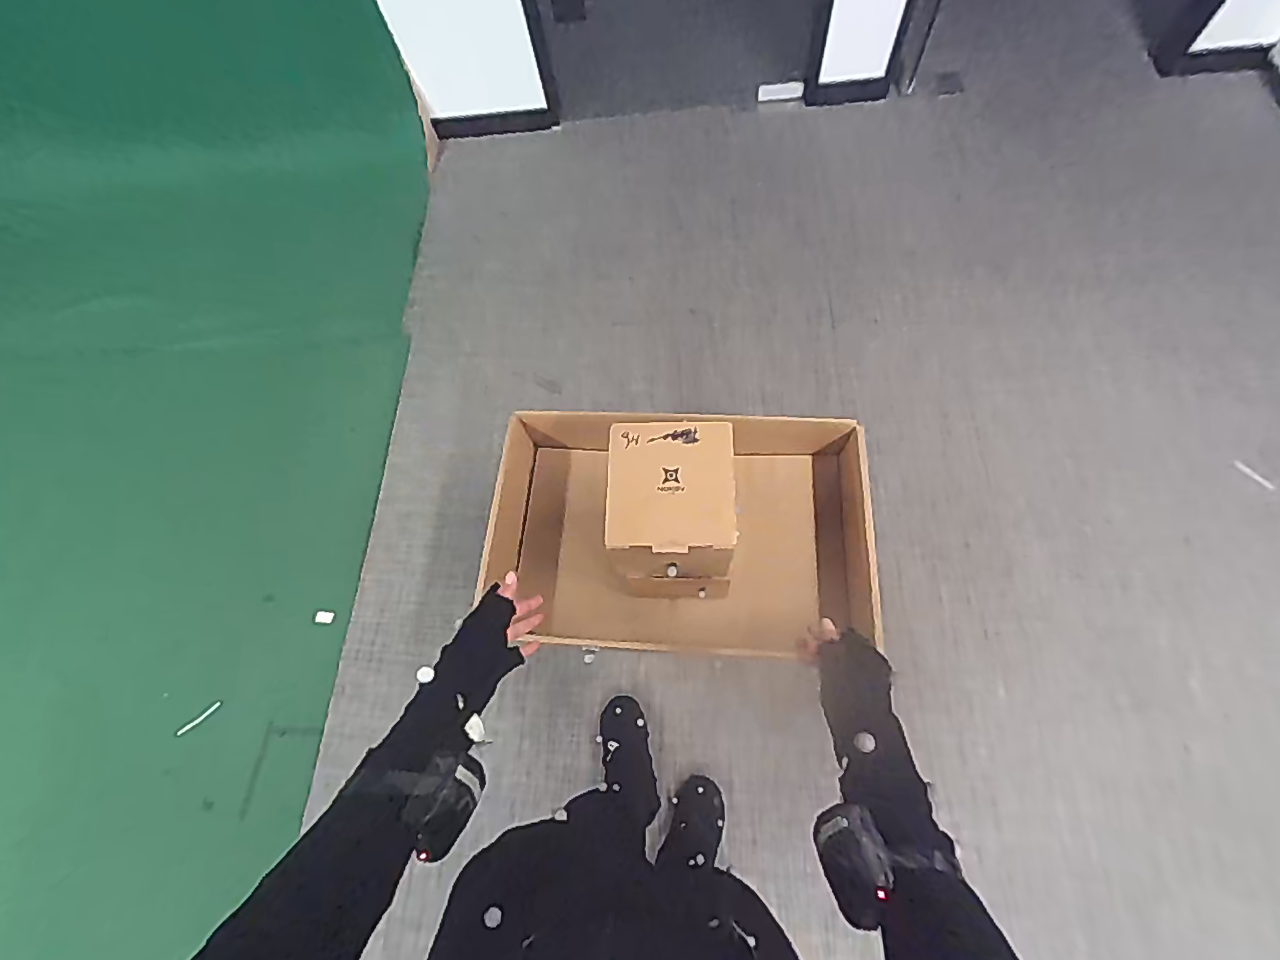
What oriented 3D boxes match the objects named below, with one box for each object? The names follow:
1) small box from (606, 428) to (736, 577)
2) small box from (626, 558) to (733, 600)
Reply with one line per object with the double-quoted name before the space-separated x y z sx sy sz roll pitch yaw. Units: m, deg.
"small box" 0.049 0.039 0.773 0.168 0.176 0.179 0 68 5
"small box" 0.071 0.104 0.921 0.168 0.176 0.179 0 66 5
